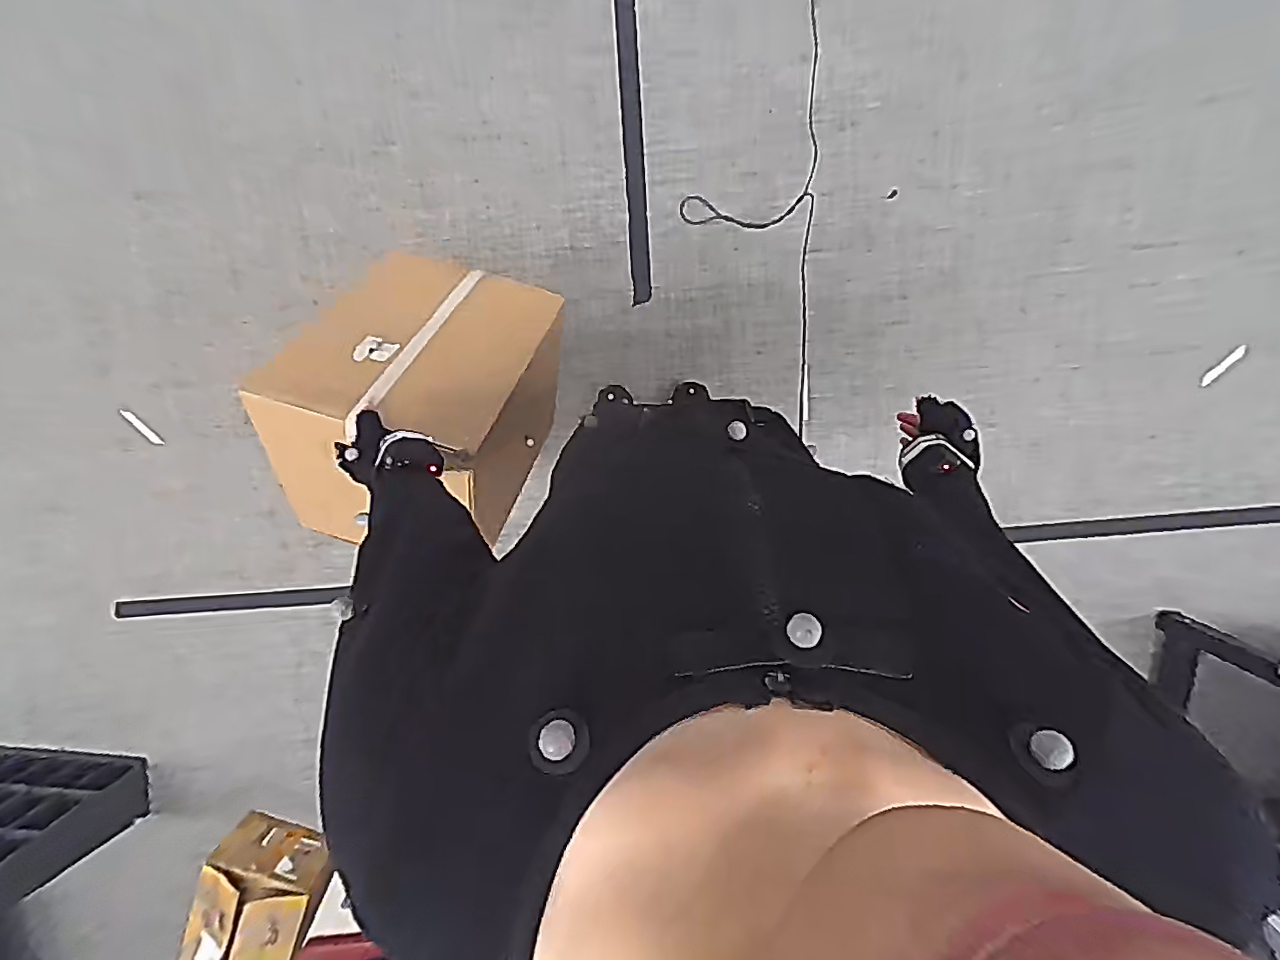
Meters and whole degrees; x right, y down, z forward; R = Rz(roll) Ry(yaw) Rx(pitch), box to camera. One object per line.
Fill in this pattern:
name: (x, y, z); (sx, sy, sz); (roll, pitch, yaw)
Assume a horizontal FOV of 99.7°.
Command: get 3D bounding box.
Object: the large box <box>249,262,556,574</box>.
large box: (-0.358, -0.112, 0.949); (0.320, 0.408, 0.320); (15, 139, 1)
